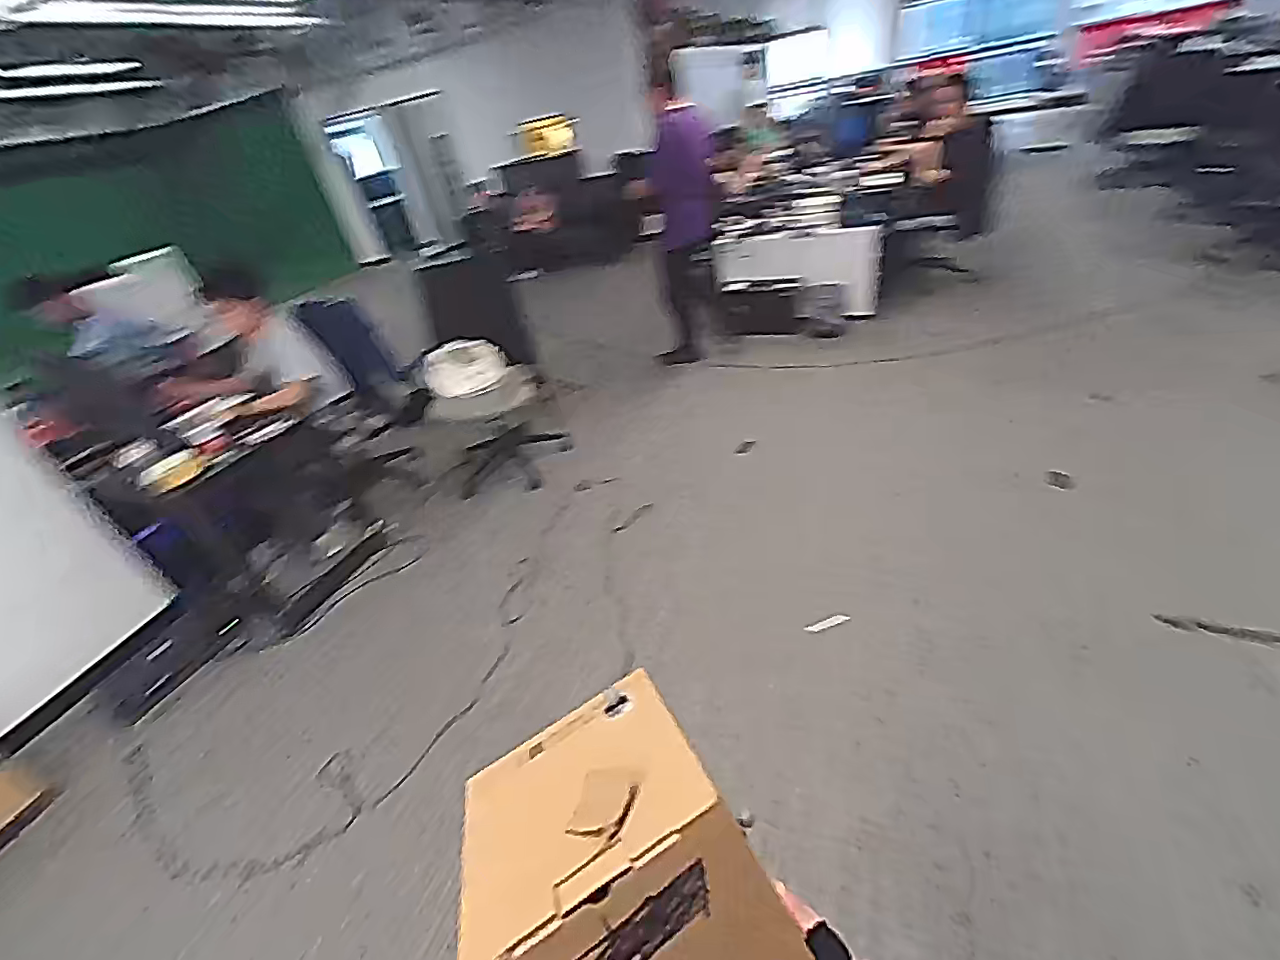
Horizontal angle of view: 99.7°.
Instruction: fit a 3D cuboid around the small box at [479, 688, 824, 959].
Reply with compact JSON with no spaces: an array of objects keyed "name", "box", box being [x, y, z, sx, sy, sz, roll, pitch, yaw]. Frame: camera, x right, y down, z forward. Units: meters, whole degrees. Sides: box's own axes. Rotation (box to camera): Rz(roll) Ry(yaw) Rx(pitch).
[{"name":"small box","box":[-0.002,0.279,0.386,0.168,0.179,0.176,-30,14,-9]}]
